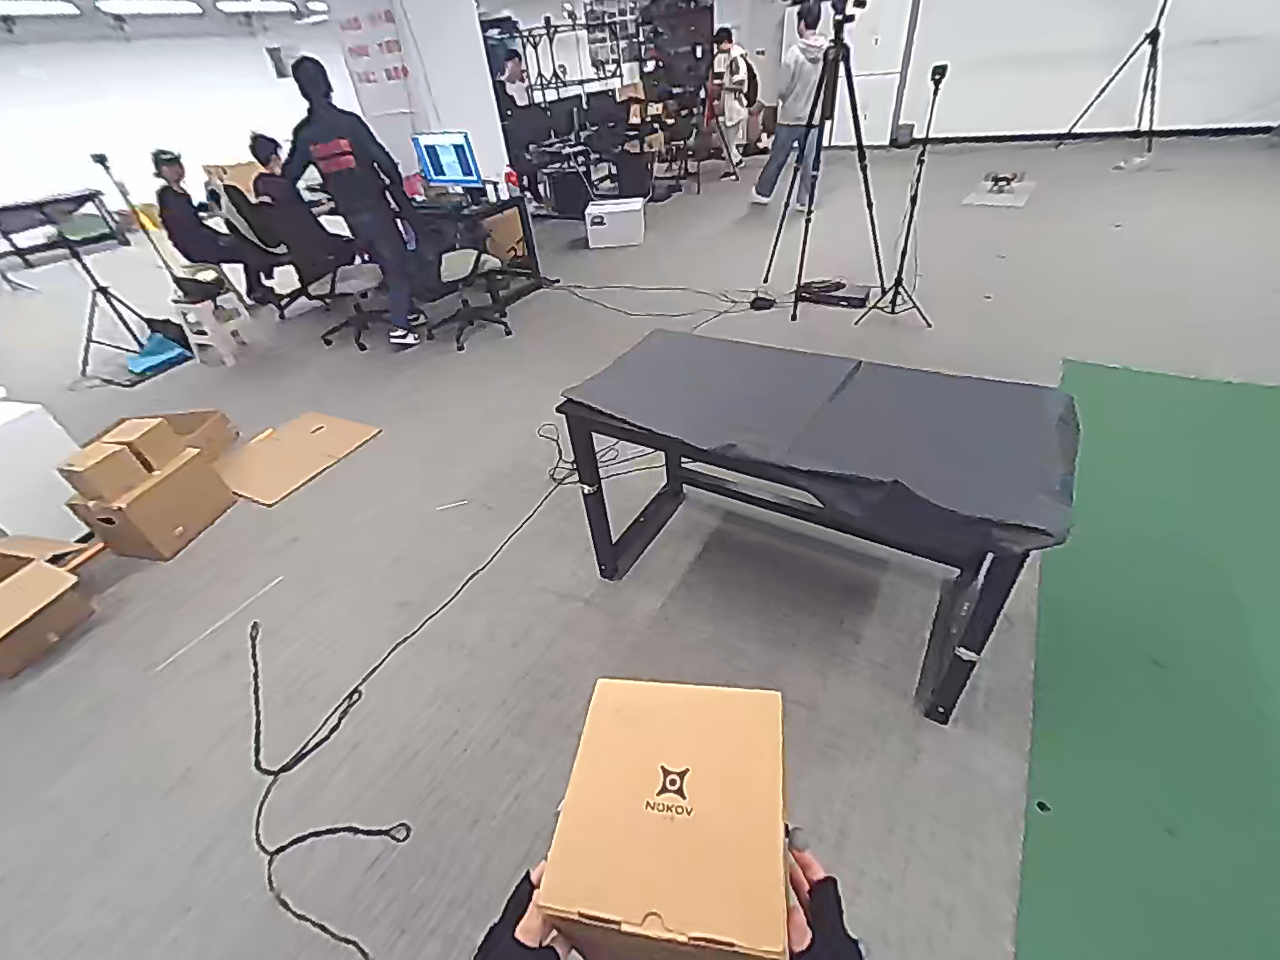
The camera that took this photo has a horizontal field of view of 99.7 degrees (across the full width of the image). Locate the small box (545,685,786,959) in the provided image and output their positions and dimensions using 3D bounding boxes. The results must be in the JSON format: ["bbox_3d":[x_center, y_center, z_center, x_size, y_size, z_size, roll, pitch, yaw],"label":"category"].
[{"bbox_3d":[0.039,0.307,0.469,0.168,0.176,0.179,-1,39,15],"label":"small box"}]
